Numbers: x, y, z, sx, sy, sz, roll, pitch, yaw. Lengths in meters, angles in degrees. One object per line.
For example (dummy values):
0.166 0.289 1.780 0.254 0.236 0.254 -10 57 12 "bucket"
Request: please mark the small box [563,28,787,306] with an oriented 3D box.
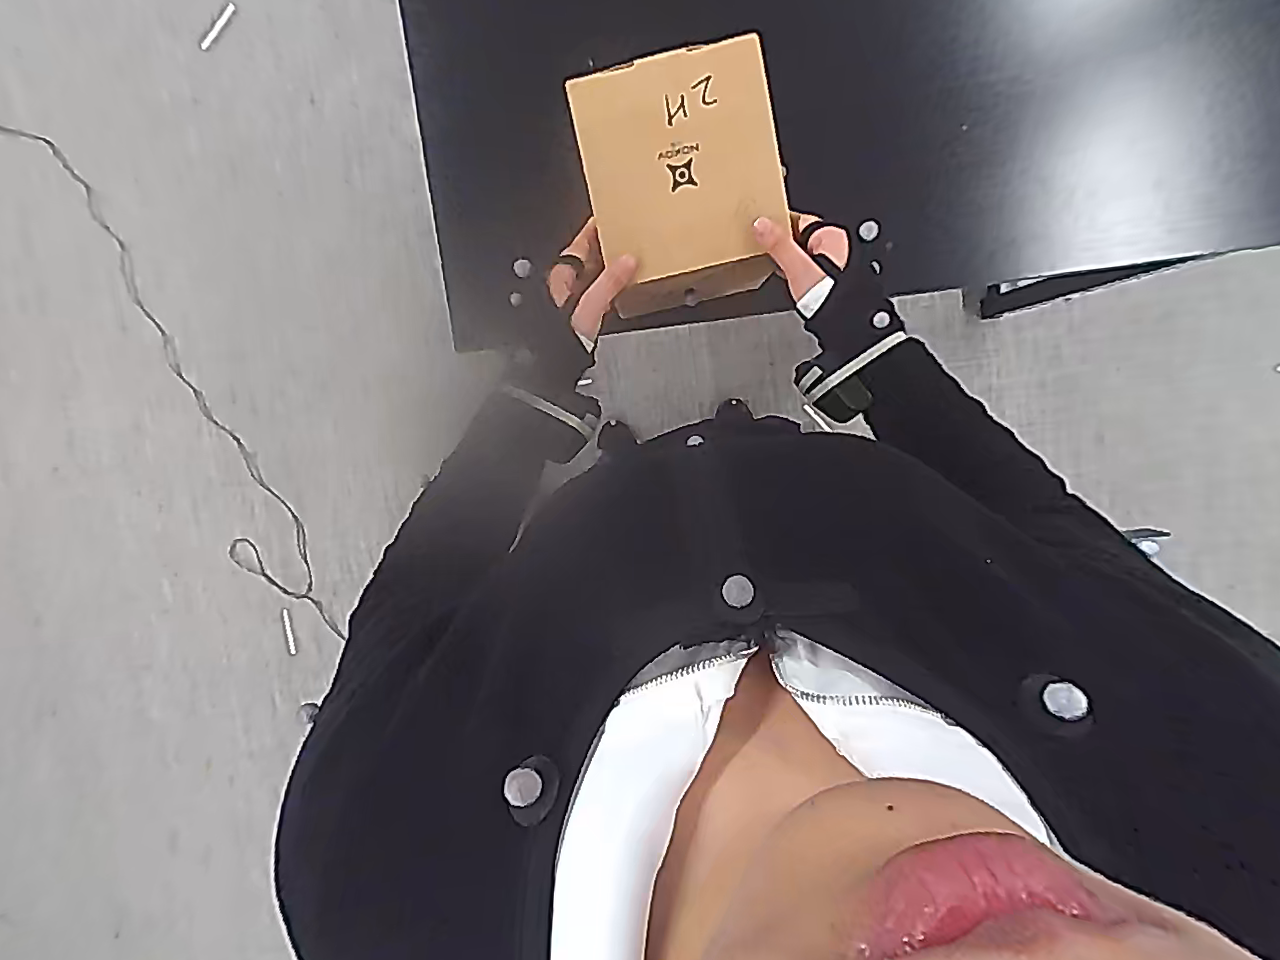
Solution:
0.035 -0.282 0.537 0.168 0.176 0.179 -12 97 4 "small box"
